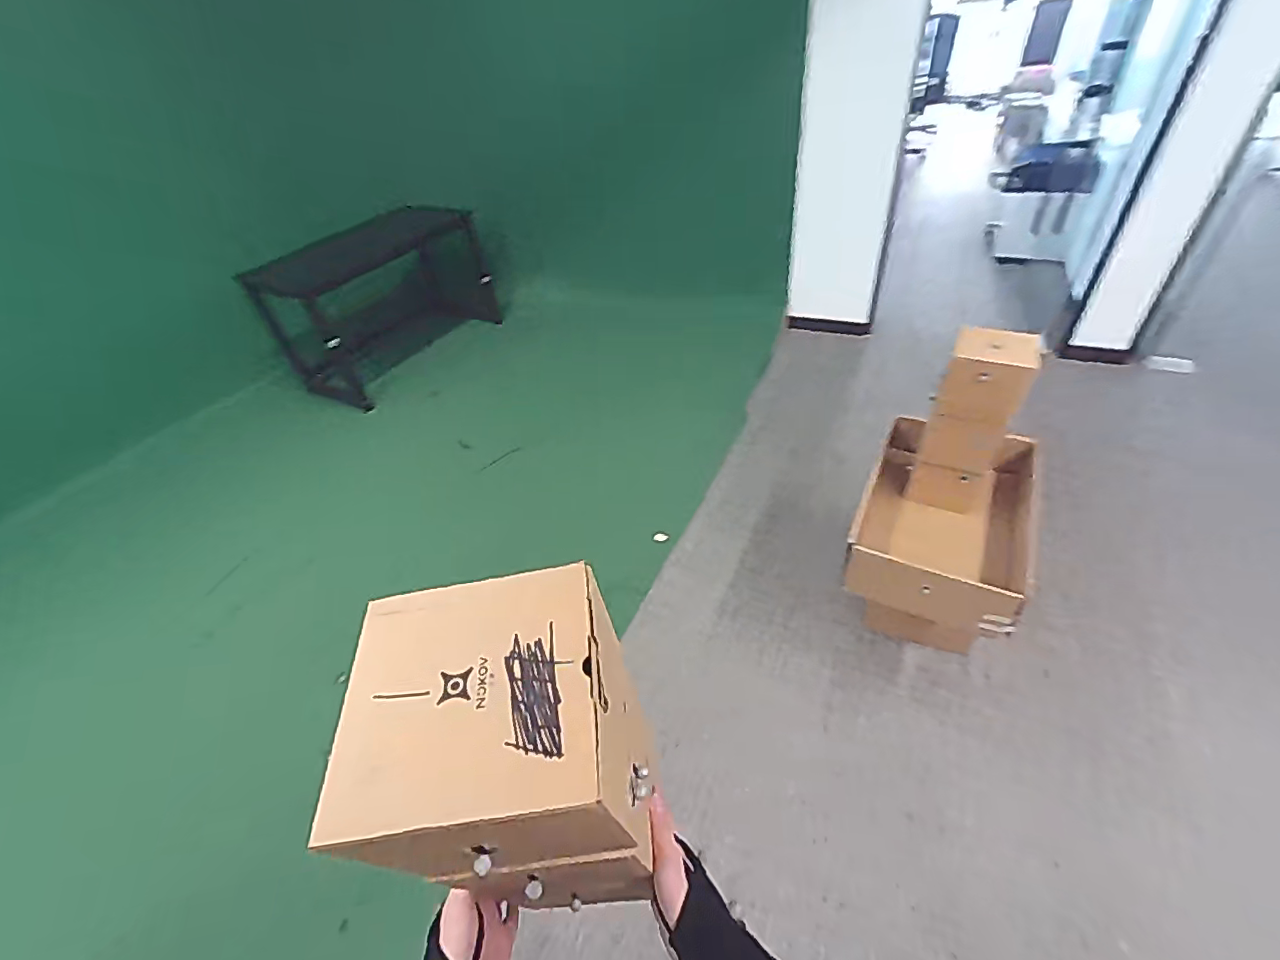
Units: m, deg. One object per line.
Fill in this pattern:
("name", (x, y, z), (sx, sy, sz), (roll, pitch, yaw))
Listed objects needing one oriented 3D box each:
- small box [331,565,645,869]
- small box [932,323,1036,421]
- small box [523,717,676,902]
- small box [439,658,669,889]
("small box", (-0.092, 0.189, 0.423), (0.179, 0.176, 0.168), (-9, 48, 2))
("small box", (0.861, -0.268, 1.358), (0.179, 0.176, 0.168), (16, 48, 23))
("small box", (-0.053, 0.407, 0.665), (0.179, 0.176, 0.168), (-6, 48, 4))
("small box", (-0.072, 0.299, 0.545), (0.179, 0.176, 0.168), (-8, 49, 3))
